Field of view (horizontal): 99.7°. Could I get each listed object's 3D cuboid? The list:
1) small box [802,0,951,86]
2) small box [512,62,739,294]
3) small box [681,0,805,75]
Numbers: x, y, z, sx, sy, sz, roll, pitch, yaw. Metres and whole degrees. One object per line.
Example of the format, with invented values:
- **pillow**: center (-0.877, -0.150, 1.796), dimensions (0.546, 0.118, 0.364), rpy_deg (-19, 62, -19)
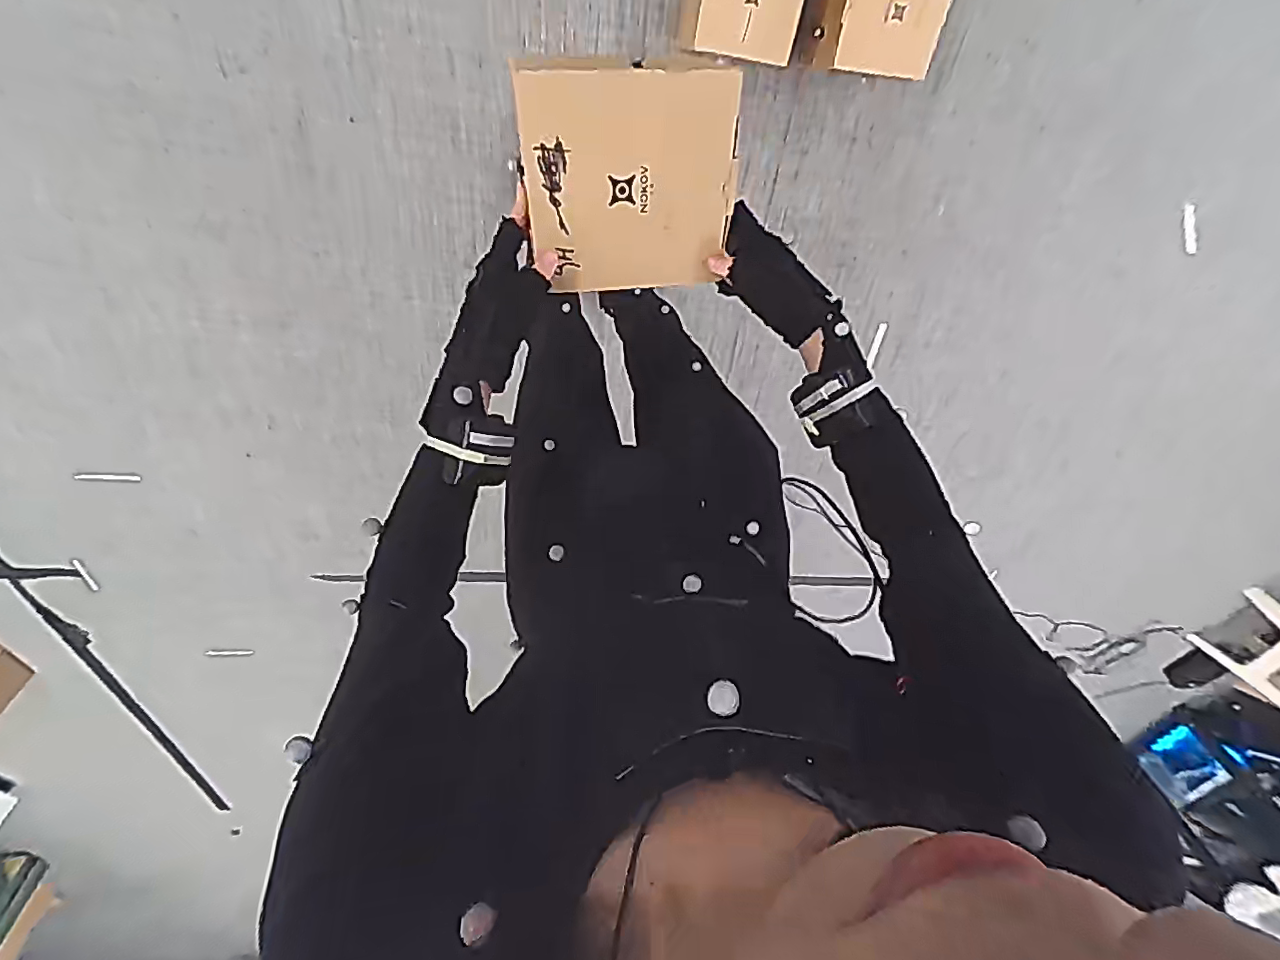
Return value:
- **small box**: center (0.408, -0.806, 0.946), dimensions (0.179, 0.176, 0.168), rpy_deg (0, 130, -9)
- **small box**: center (-0.024, -0.295, 0.522), dimensions (0.179, 0.176, 0.168), rpy_deg (-7, 131, -9)
- **small box**: center (0.172, -0.809, 0.910), dimensions (0.168, 0.176, 0.179), rpy_deg (3, 129, -10)
